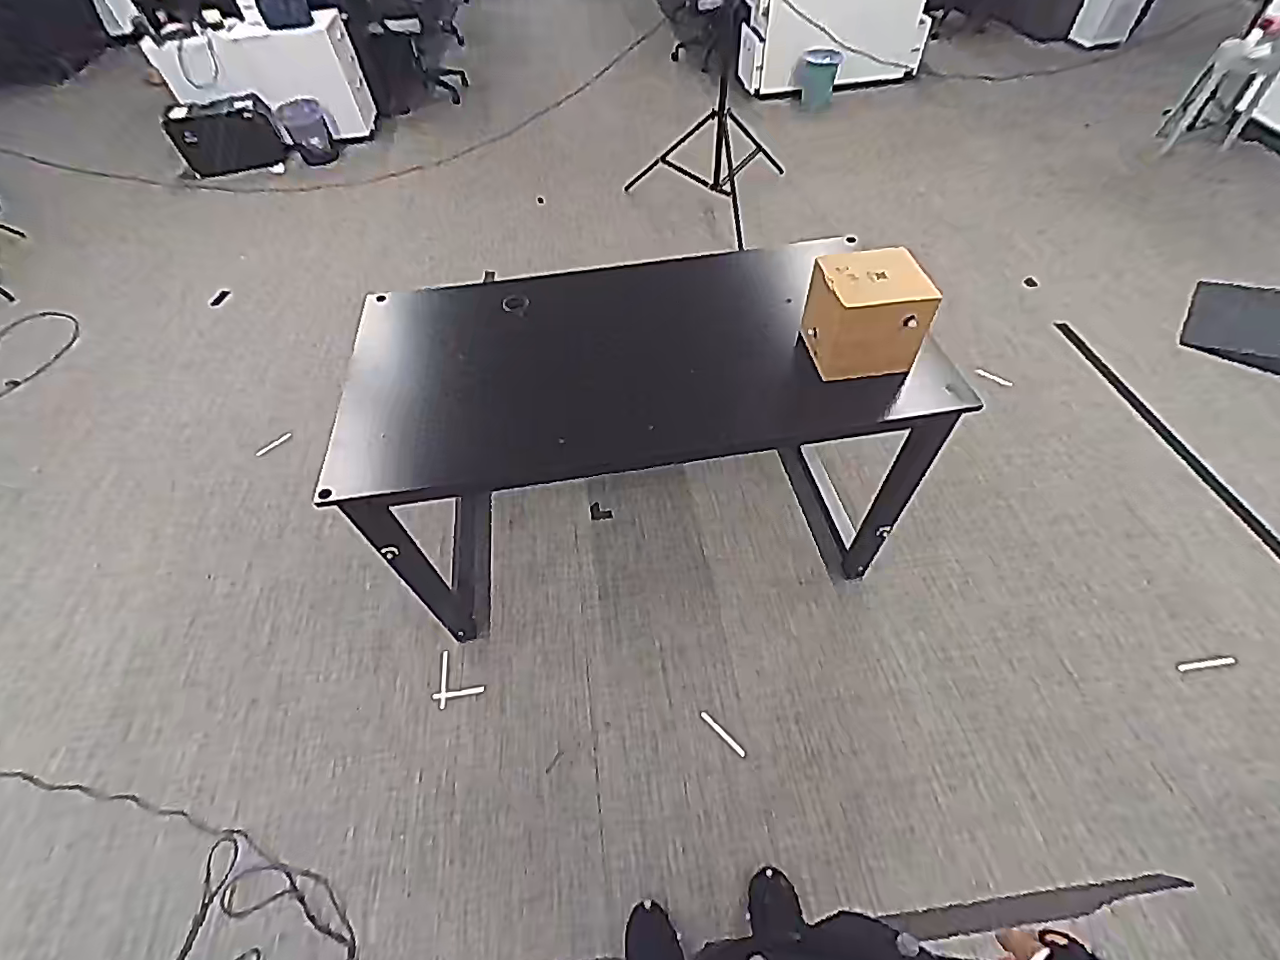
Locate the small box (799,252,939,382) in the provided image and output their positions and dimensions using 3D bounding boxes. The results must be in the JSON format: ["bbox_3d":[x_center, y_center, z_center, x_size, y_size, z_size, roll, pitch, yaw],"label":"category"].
[{"bbox_3d":[0.424,-0.308,1.034,0.179,0.176,0.168,-7,52,-1],"label":"small box"}]
